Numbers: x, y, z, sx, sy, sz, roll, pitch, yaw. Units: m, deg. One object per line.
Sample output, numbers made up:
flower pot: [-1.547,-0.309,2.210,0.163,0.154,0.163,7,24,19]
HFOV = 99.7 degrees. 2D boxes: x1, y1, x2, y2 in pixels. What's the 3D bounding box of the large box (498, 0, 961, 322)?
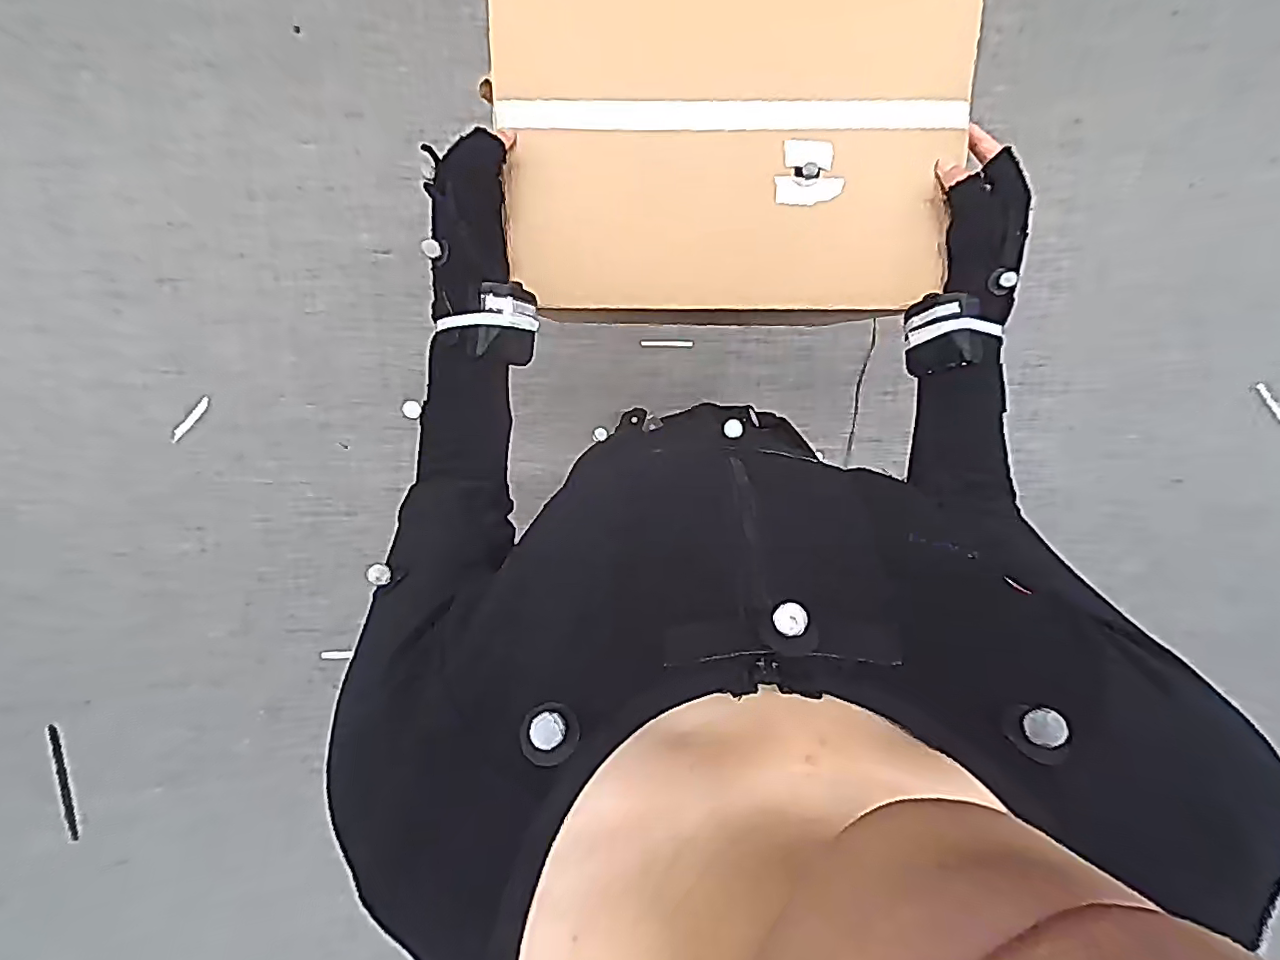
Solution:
large box: [0.074,-0.355,0.627,0.408,0.320,0.320,0,104,-1]
